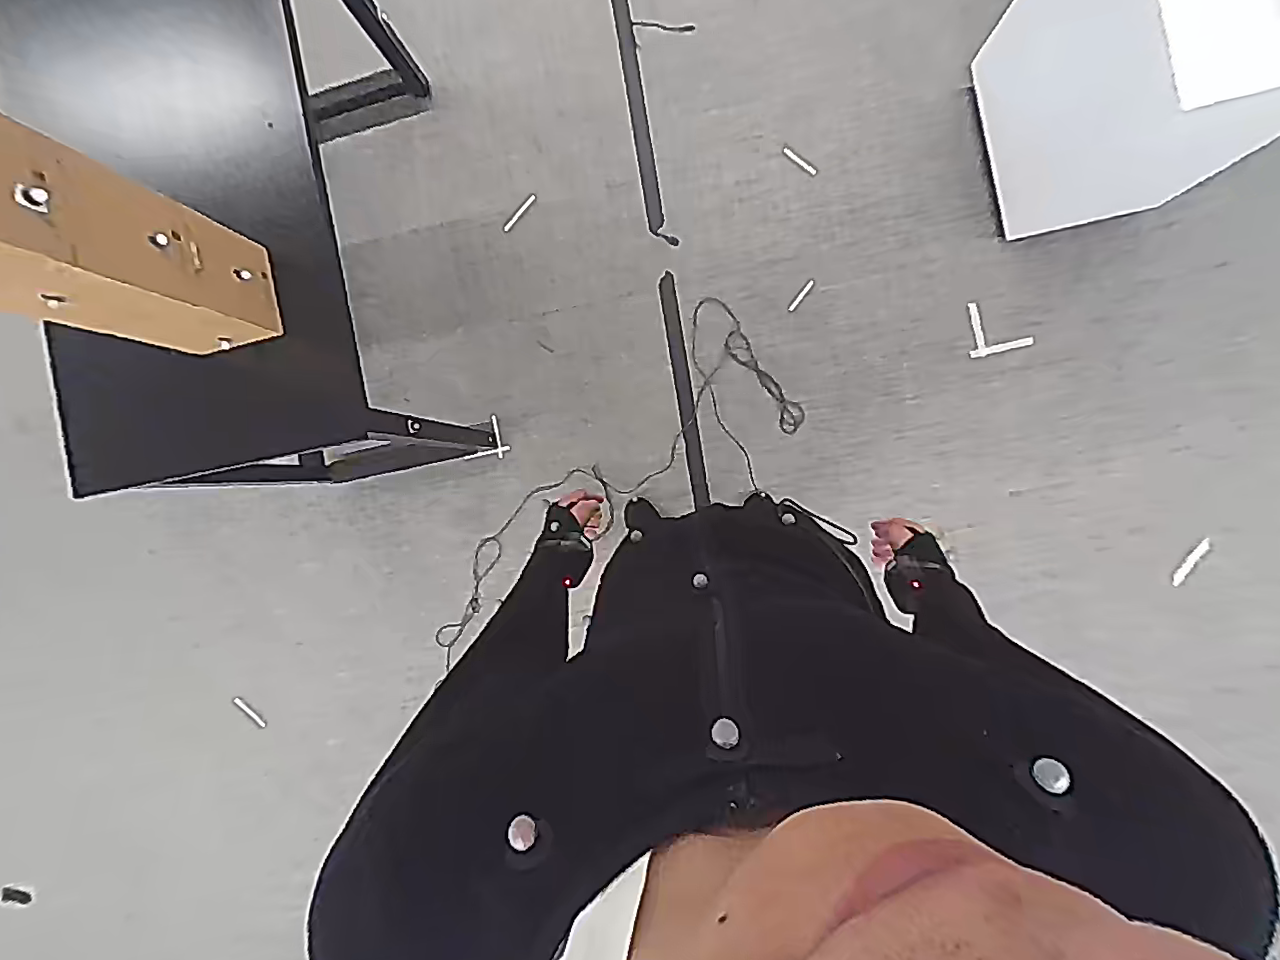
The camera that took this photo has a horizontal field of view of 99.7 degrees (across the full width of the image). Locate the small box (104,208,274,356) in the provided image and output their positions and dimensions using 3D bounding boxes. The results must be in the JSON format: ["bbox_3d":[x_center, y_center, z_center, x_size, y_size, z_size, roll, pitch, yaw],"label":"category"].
[{"bbox_3d":[-0.757,-0.321,0.912,0.179,0.176,0.168,-12,89,5],"label":"small box"}]

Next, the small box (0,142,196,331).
[{"bbox_3d":[-0.776,-0.319,0.748,0.179,0.176,0.168,-12,90,6],"label":"small box"}]

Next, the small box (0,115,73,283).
[{"bbox_3d":[-0.793,-0.318,0.586,0.179,0.176,0.168,-12,91,5],"label":"small box"}]
